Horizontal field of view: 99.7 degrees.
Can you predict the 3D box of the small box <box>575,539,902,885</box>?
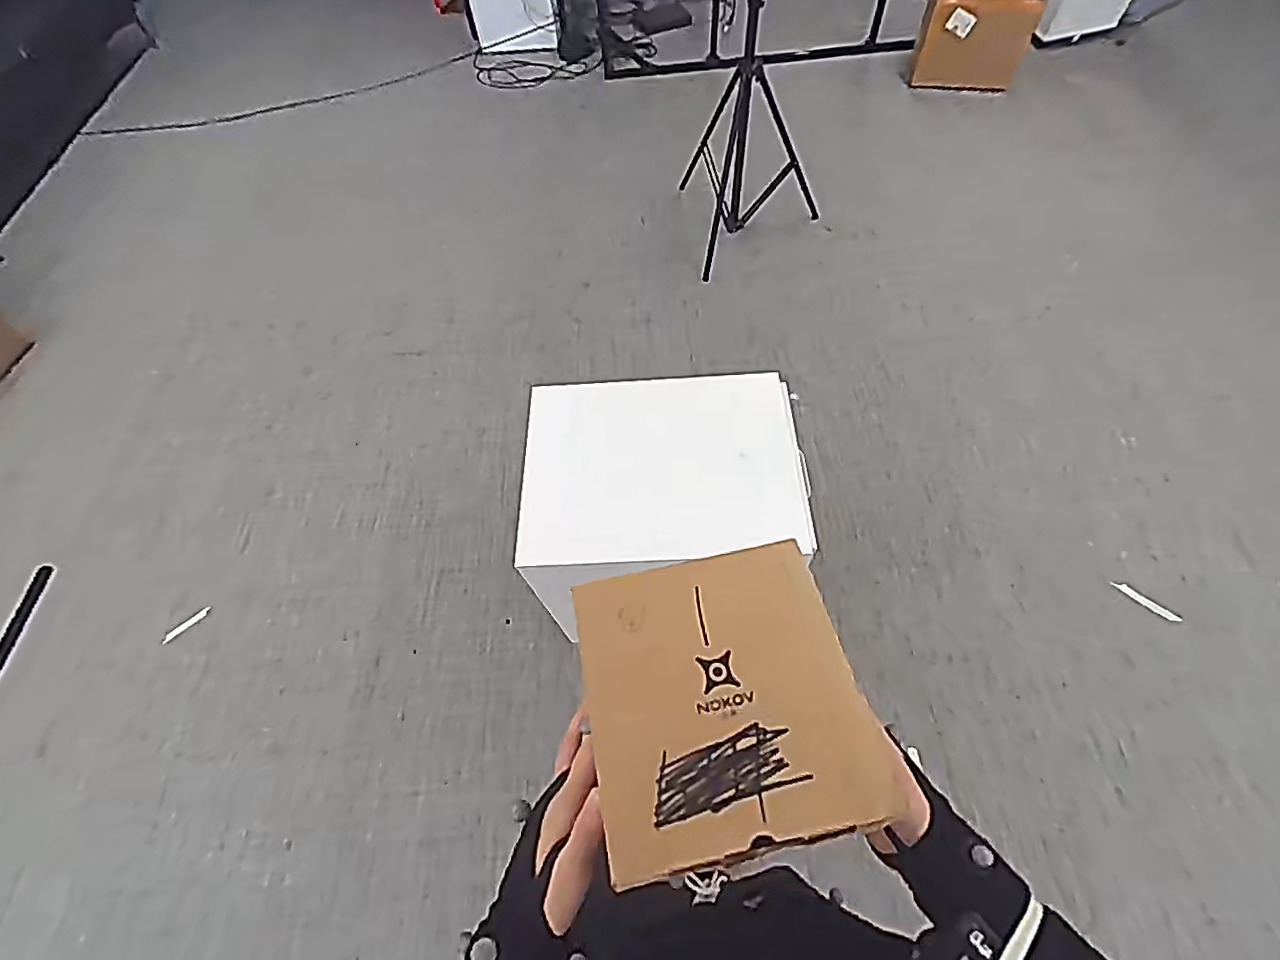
[{"bbox_3d":[0.055,0.171,0.401,0.168,0.176,0.179,-11,56,-4],"label":"small box"}]
